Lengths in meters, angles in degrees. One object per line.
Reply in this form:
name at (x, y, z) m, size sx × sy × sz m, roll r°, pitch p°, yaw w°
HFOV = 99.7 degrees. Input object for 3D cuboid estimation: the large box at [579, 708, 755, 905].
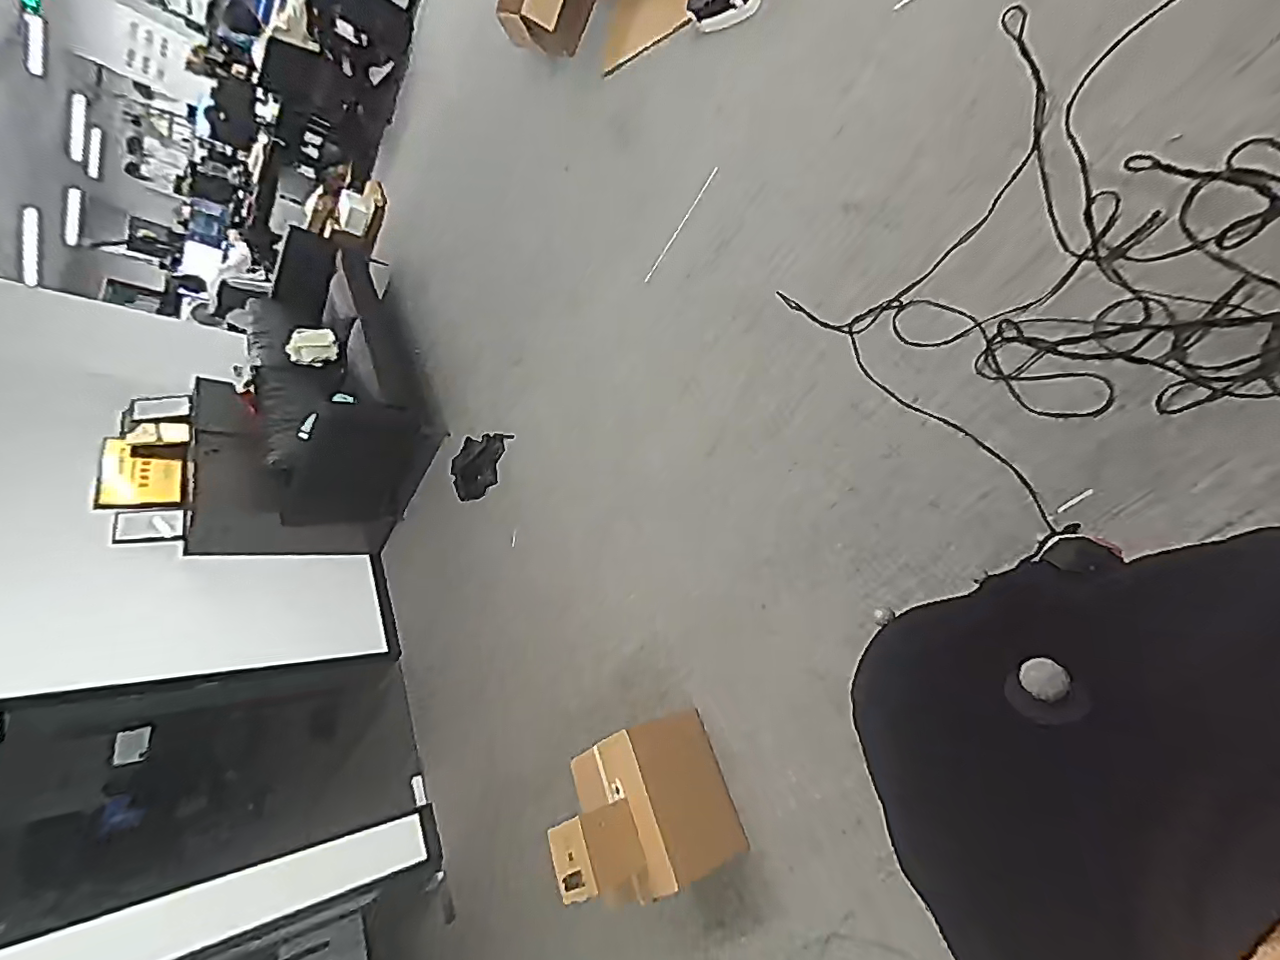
large box at (0.071, 0.962, 1.627) m, size 0.320 × 0.320 × 0.408 m, roll -45°, pitch 53°, yaw 33°
